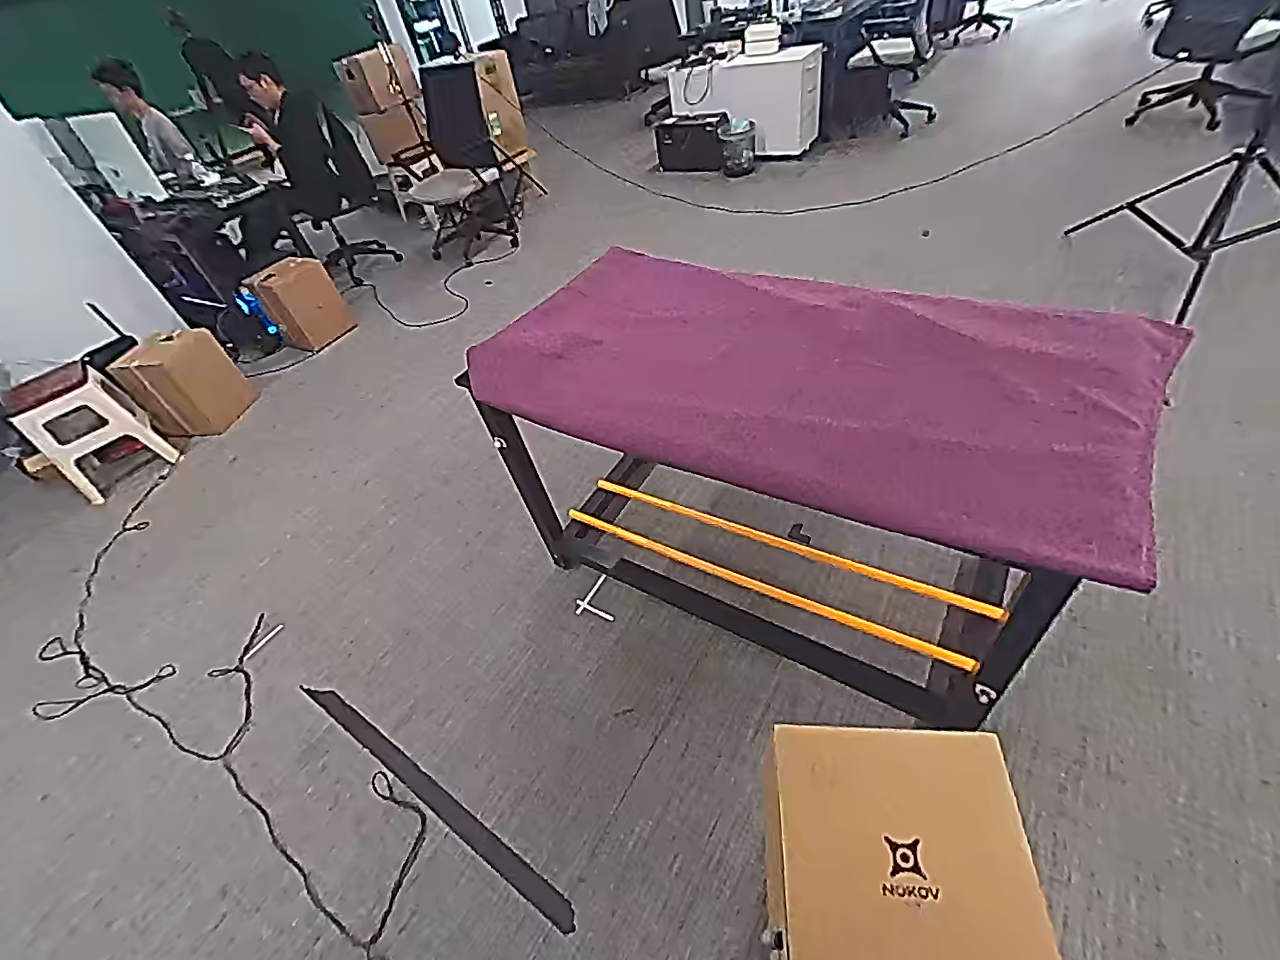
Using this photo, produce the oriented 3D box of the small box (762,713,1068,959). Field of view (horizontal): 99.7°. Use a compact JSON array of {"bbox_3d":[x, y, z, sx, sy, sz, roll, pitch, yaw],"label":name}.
[{"bbox_3d":[0.188,0.300,0.426,0.168,0.176,0.179,-1,53,8],"label":"small box"}]
